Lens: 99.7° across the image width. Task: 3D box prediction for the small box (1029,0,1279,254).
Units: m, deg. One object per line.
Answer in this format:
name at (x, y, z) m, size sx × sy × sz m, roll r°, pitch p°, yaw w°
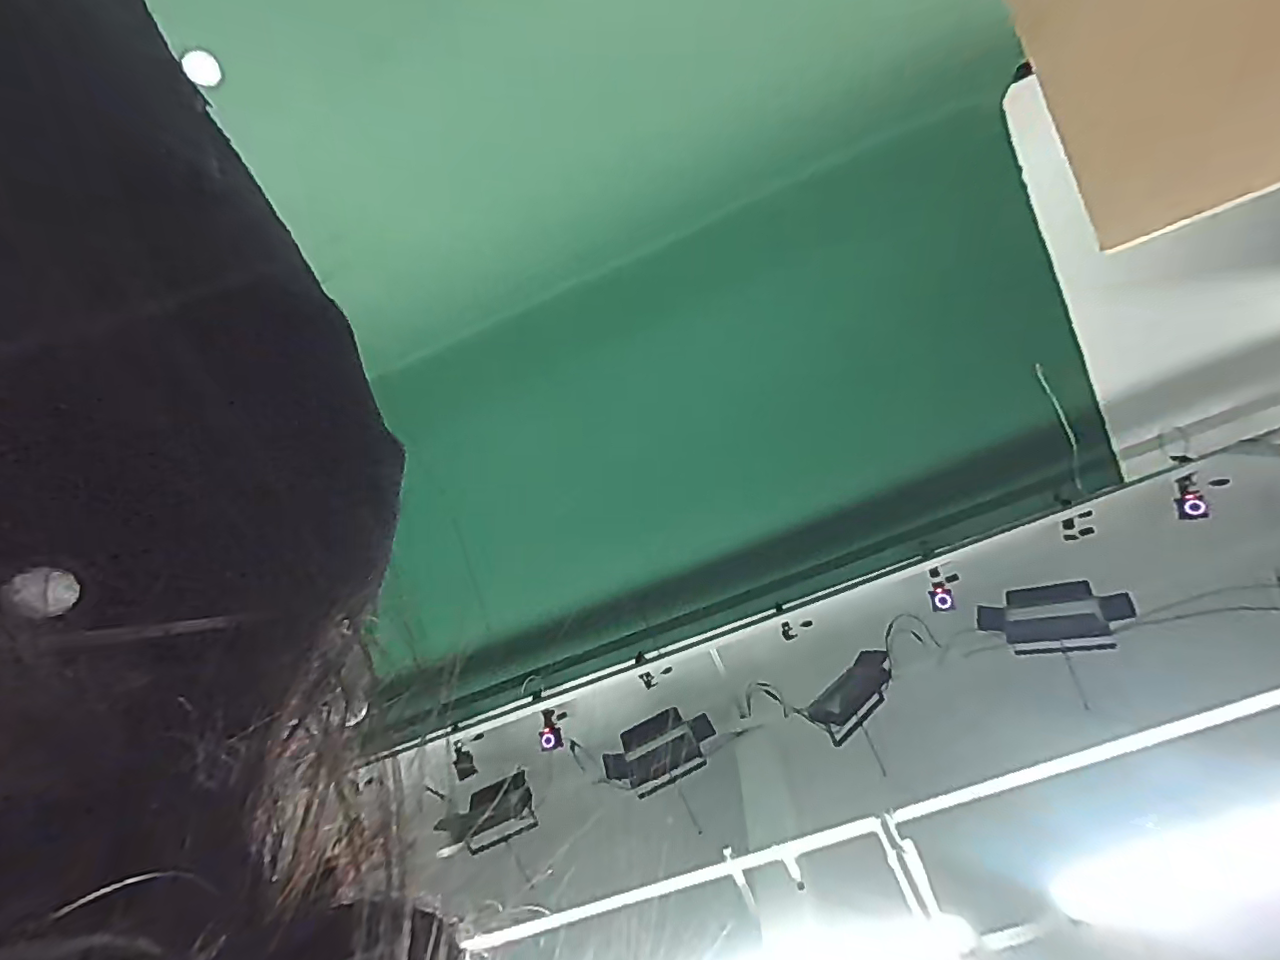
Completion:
small box at (0.276, -0.212, 0.175) m, size 0.179 × 0.176 × 0.168 m, roll -23°, pitch -176°, yaw 9°
